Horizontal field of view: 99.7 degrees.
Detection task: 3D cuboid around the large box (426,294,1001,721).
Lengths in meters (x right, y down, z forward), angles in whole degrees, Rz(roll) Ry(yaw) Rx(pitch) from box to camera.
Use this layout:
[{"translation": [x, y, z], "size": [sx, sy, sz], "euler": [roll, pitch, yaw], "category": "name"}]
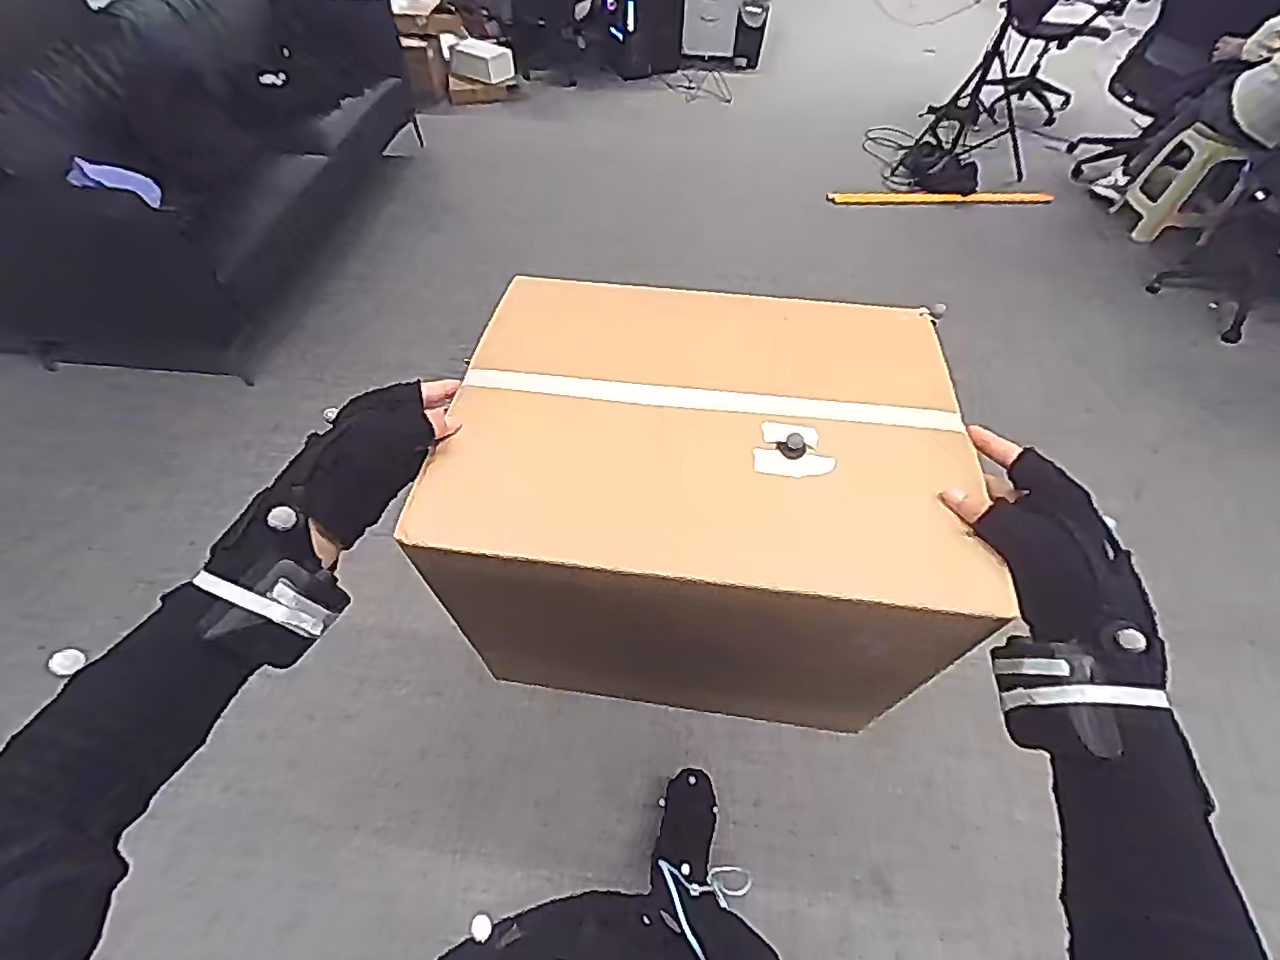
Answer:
[{"translation": [0.057, 0.036, 0.574], "size": [0.408, 0.320, 0.320], "euler": [7, 53, 4], "category": "large box"}]
